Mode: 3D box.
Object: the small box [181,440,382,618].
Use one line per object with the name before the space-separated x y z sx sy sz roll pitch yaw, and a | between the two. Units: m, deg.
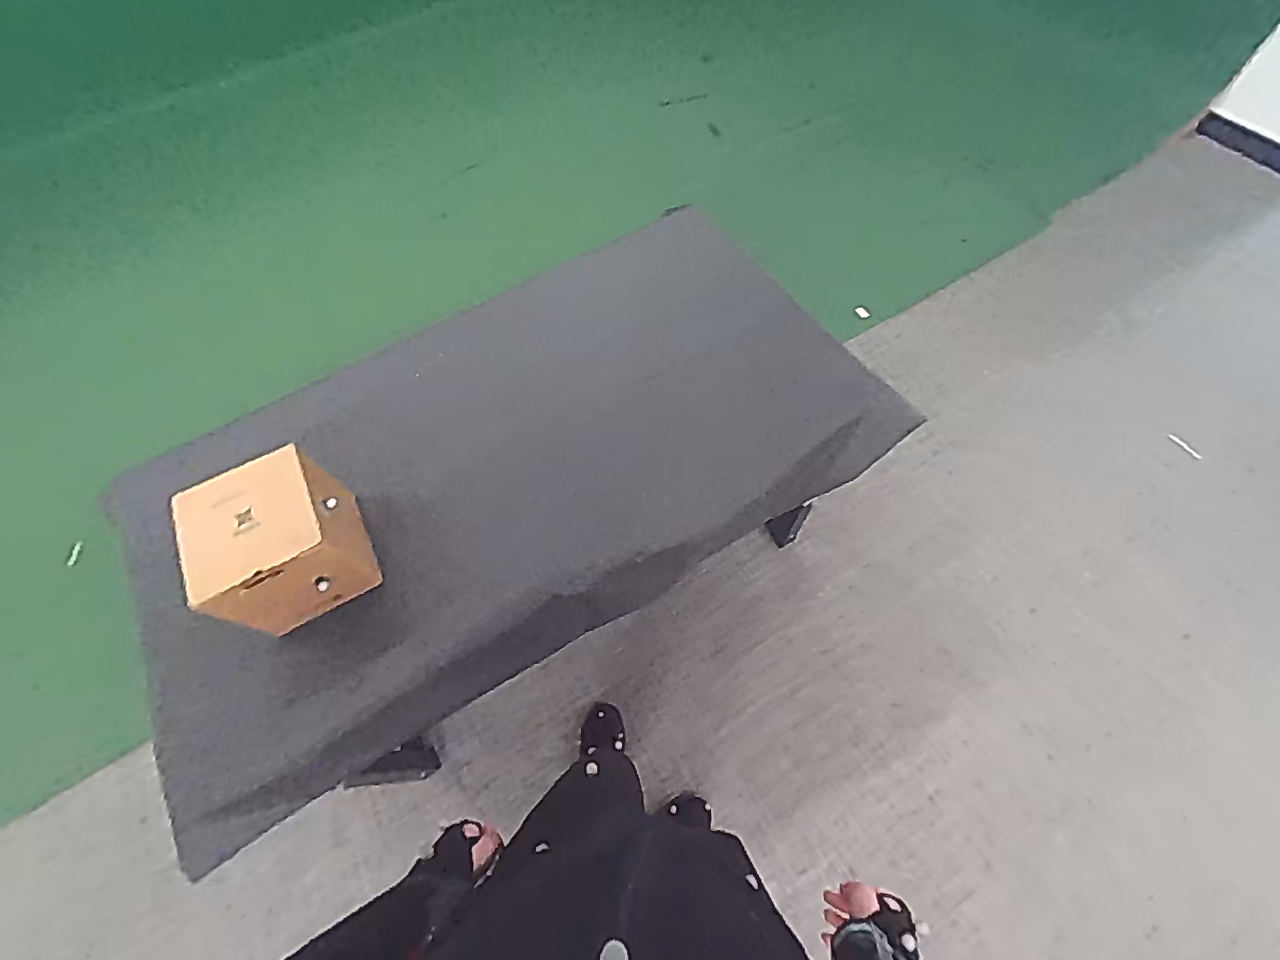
small box | -0.502 0.080 0.777 0.168 0.176 0.179 -27 64 -12
